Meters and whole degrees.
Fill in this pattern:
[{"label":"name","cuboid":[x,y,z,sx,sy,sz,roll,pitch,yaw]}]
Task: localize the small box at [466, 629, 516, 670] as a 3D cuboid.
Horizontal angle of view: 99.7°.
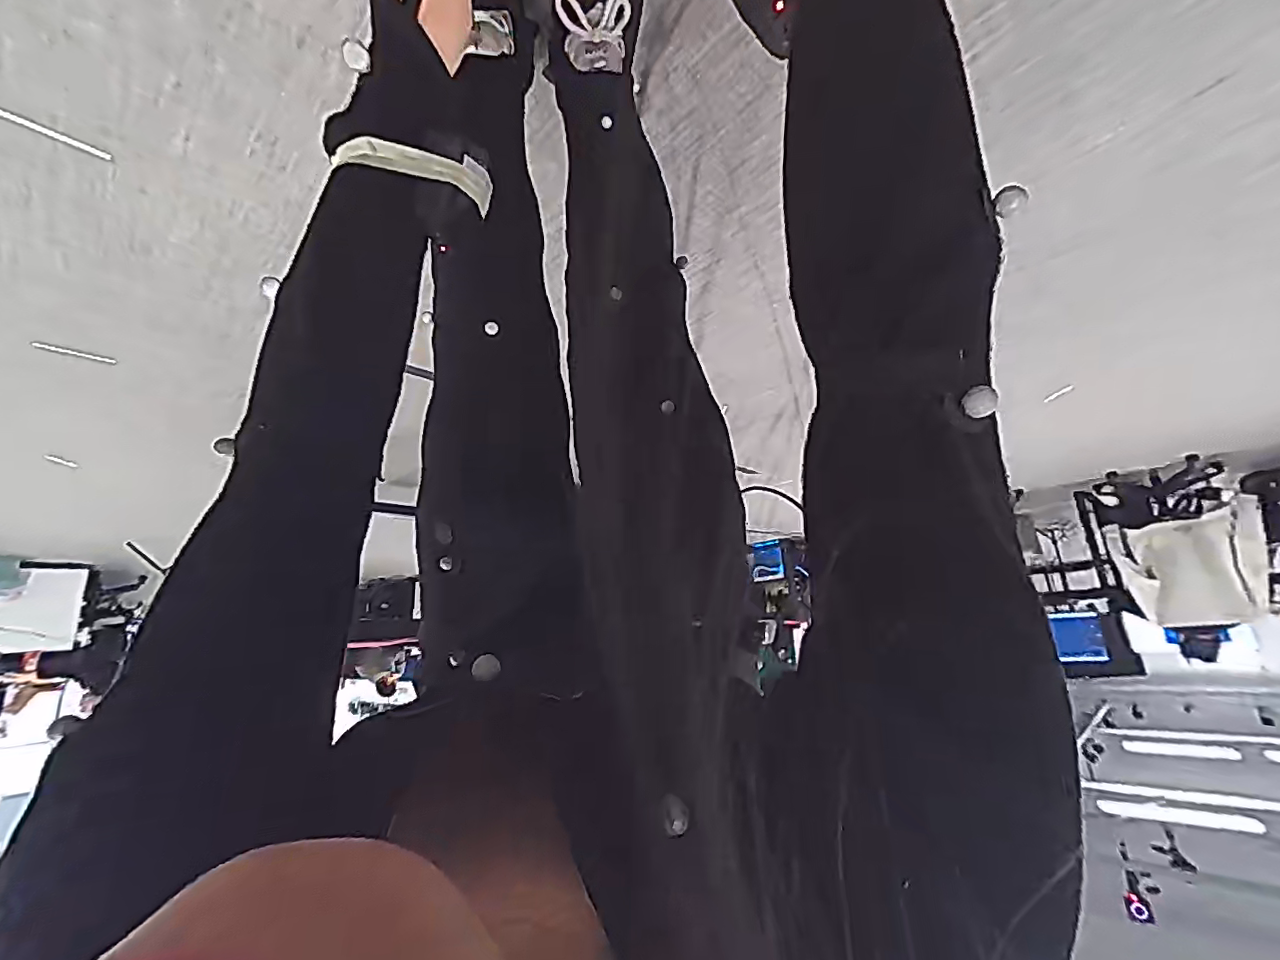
[{"label":"small box","cuboid":[-0.688,0.783,2.504,0.179,0.176,0.168,12,158,-42]}]
